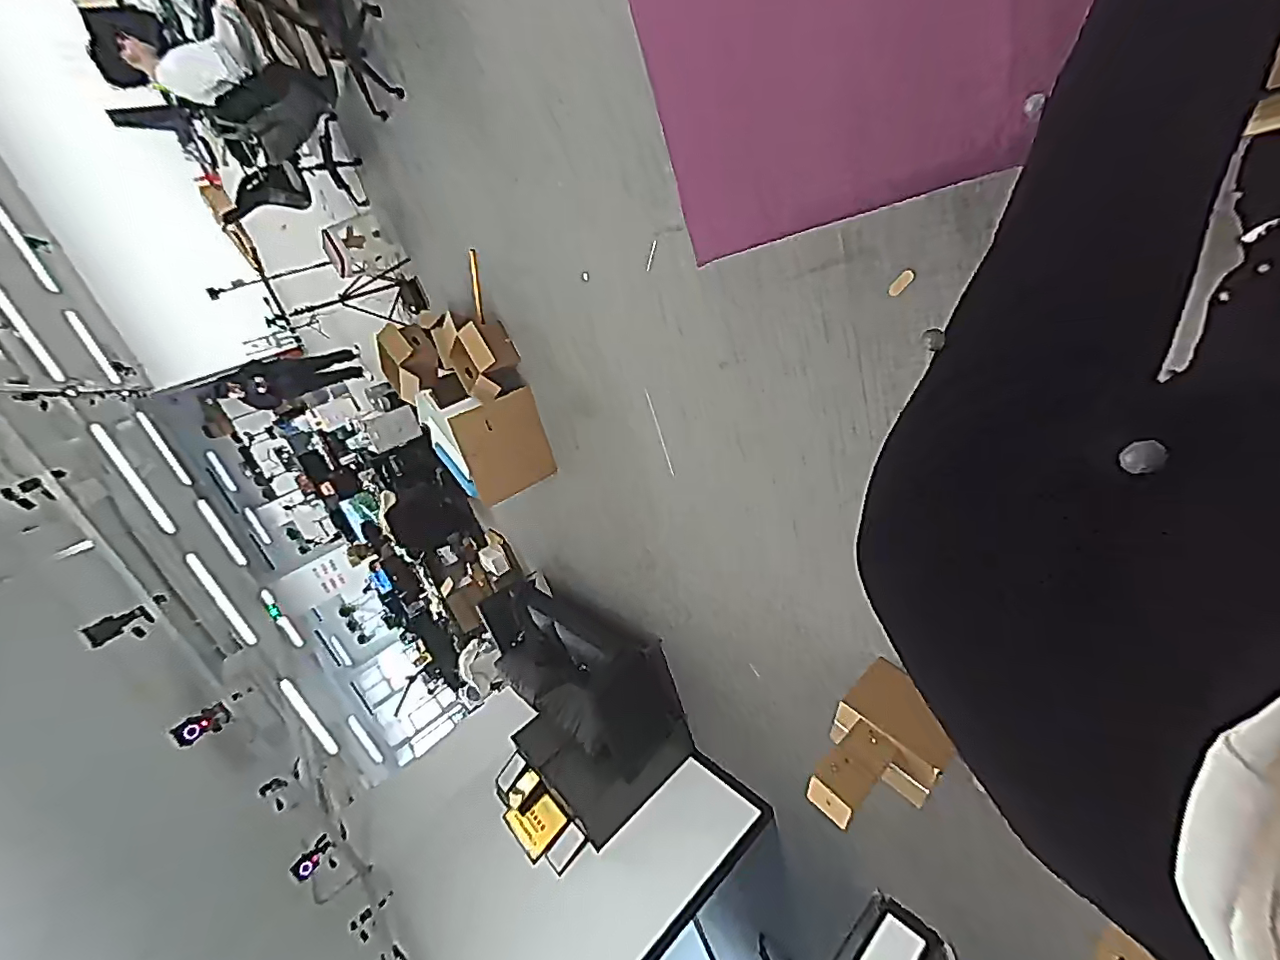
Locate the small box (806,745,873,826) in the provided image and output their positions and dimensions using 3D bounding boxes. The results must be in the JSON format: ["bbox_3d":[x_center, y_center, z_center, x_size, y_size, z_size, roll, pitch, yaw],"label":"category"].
[{"bbox_3d":[0.755,1.148,2.041,0.168,0.176,0.179,32,141,39],"label":"small box"}]

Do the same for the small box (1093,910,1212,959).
[{"bbox_3d":[1.274,1.212,1.322,0.168,0.176,0.179,57,150,2],"label":"small box"}]

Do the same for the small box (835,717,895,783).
[{"bbox_3d":[0.874,1.079,2.128,0.168,0.176,0.179,33,140,37],"label":"small box"}]
